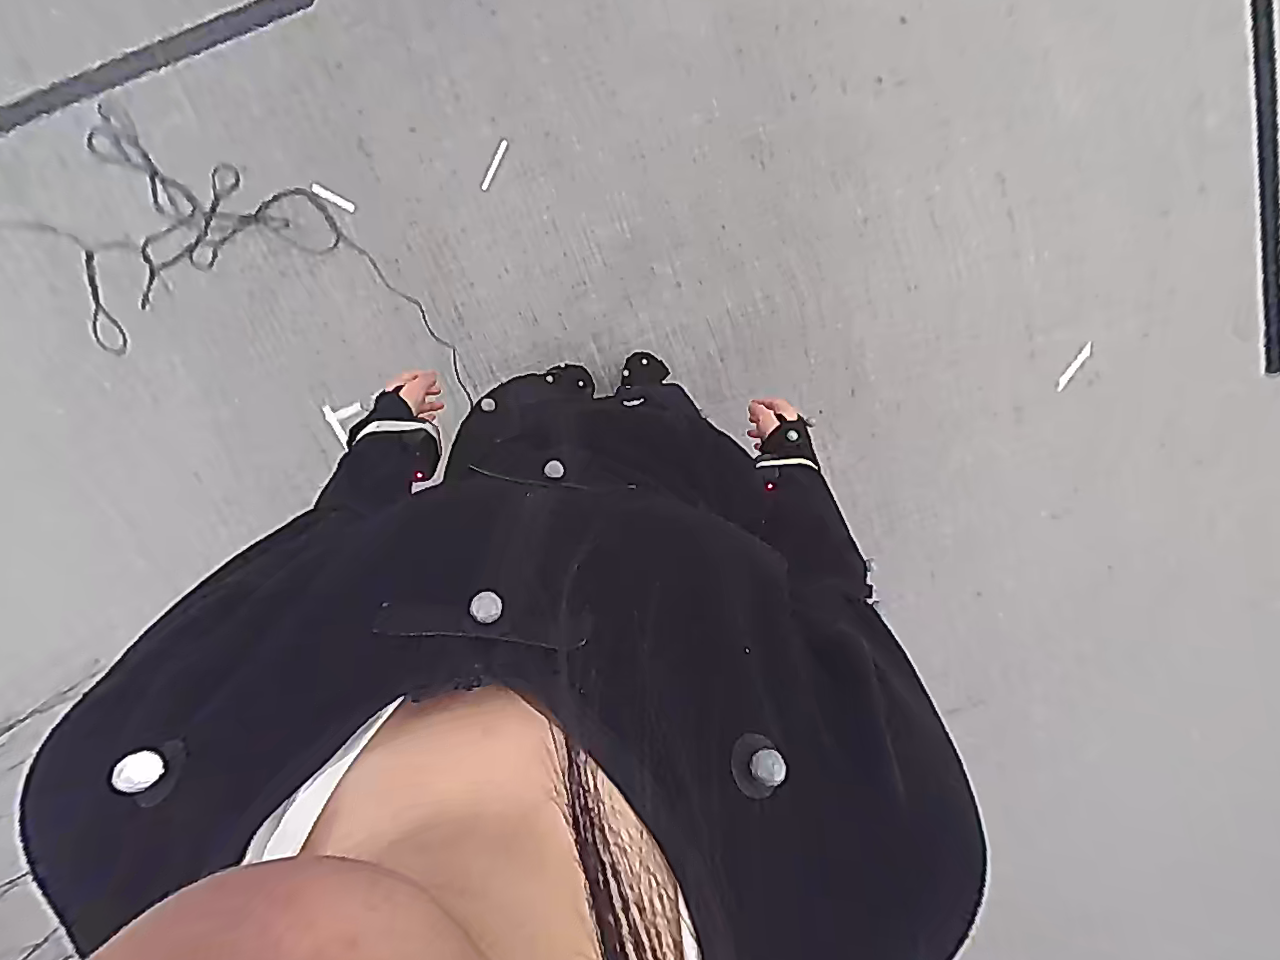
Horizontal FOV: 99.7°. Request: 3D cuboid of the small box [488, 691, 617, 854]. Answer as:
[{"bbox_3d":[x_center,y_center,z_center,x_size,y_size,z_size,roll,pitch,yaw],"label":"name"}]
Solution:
[{"bbox_3d":[-0.143,0.496,0.945,0.168,0.176,0.179,-17,106,3],"label":"small box"}]
